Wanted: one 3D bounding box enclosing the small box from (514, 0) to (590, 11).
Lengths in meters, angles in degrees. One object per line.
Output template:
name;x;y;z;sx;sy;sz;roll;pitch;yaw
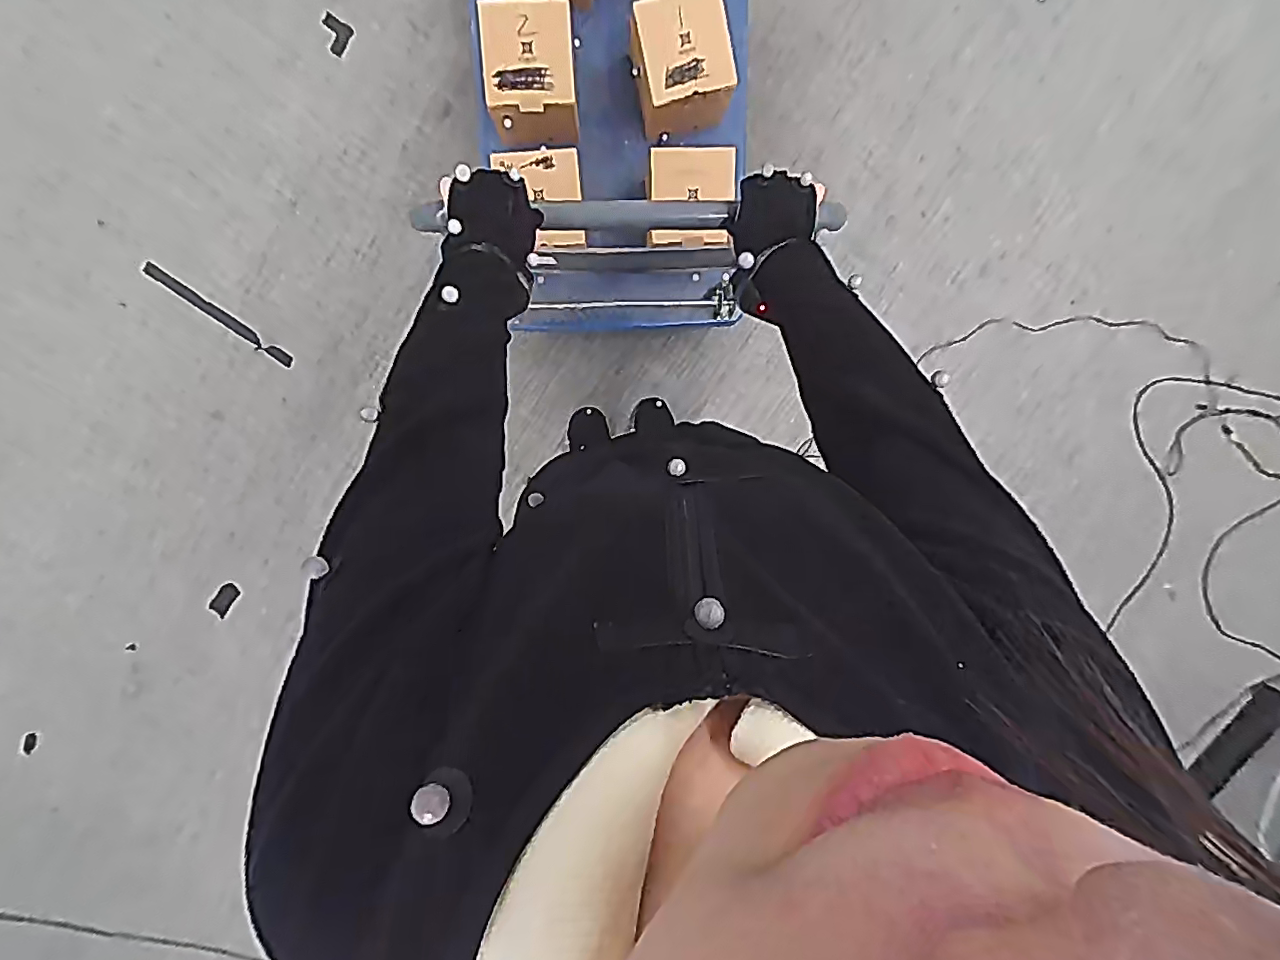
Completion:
small box;-0.178;-1.041;1.018;0.168;0.176;0.179;0;102;-3

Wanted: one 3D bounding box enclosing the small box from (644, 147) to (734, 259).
small box;0.097;-0.568;1.131;0.168;0.176;0.179;-2;101;-4

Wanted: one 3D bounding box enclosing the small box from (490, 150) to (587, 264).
small box;-0.200;-0.552;1.115;0.168;0.176;0.179;-6;102;-3
